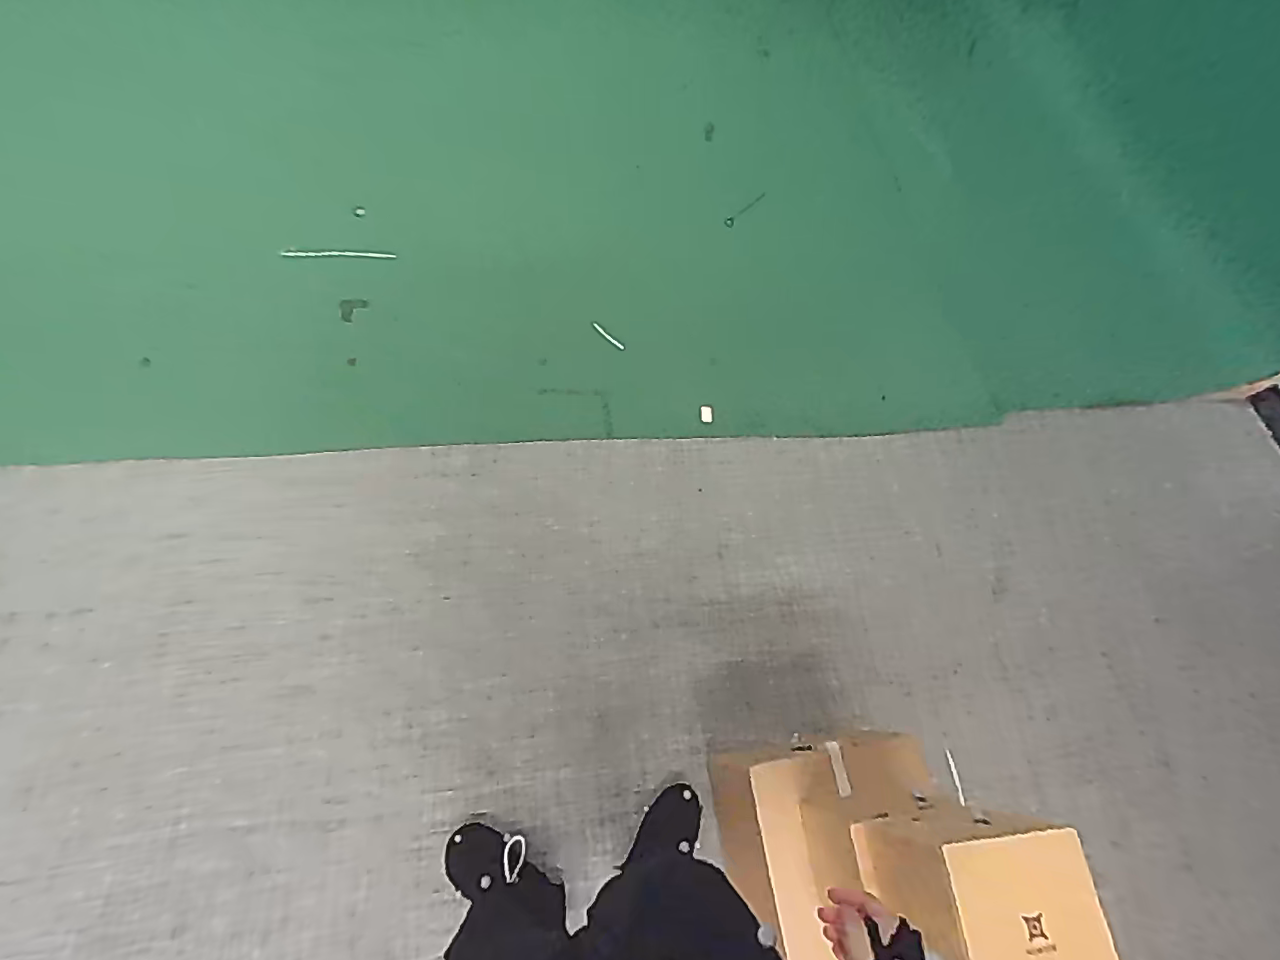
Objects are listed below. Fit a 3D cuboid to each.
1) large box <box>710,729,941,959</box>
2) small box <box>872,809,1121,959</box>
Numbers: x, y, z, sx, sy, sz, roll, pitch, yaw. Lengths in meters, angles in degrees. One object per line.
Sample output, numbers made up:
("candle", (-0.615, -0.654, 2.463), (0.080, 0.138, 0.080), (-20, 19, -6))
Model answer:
("large box", (0.346, 0.697, 0.978), (0.320, 0.320, 0.408), (-6, 68, -9))
("small box", (0.398, 0.494, 0.626), (0.168, 0.176, 0.179), (-2, 67, -8))
